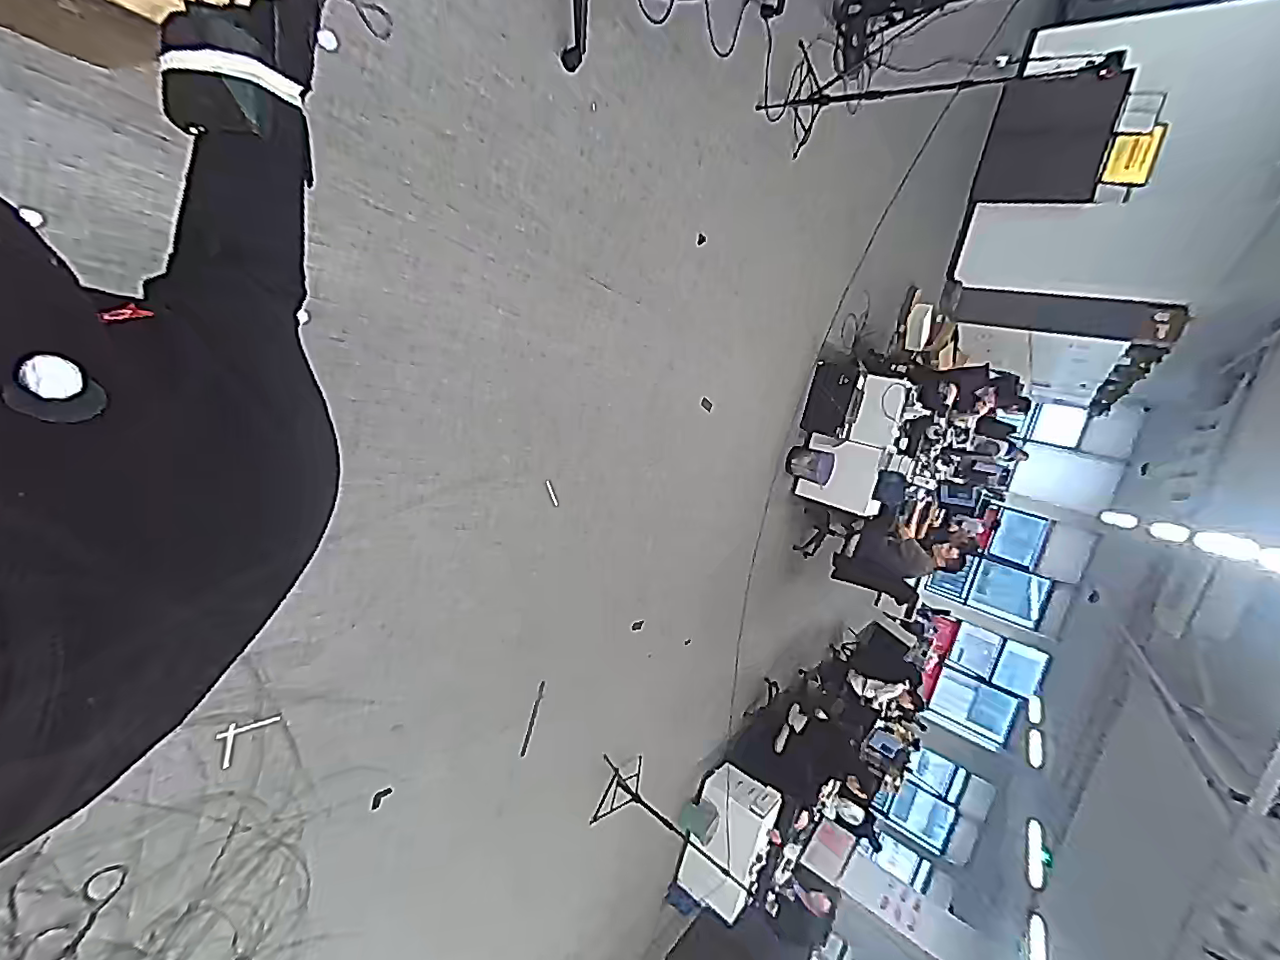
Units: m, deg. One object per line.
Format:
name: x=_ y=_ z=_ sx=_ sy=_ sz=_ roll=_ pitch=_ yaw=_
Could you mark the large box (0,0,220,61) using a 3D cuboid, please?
large box: x=-0.488 y=-0.486 z=0.257 sx=0.408 sy=0.320 sz=0.320 roll=-4 pitch=116 yaw=-56
